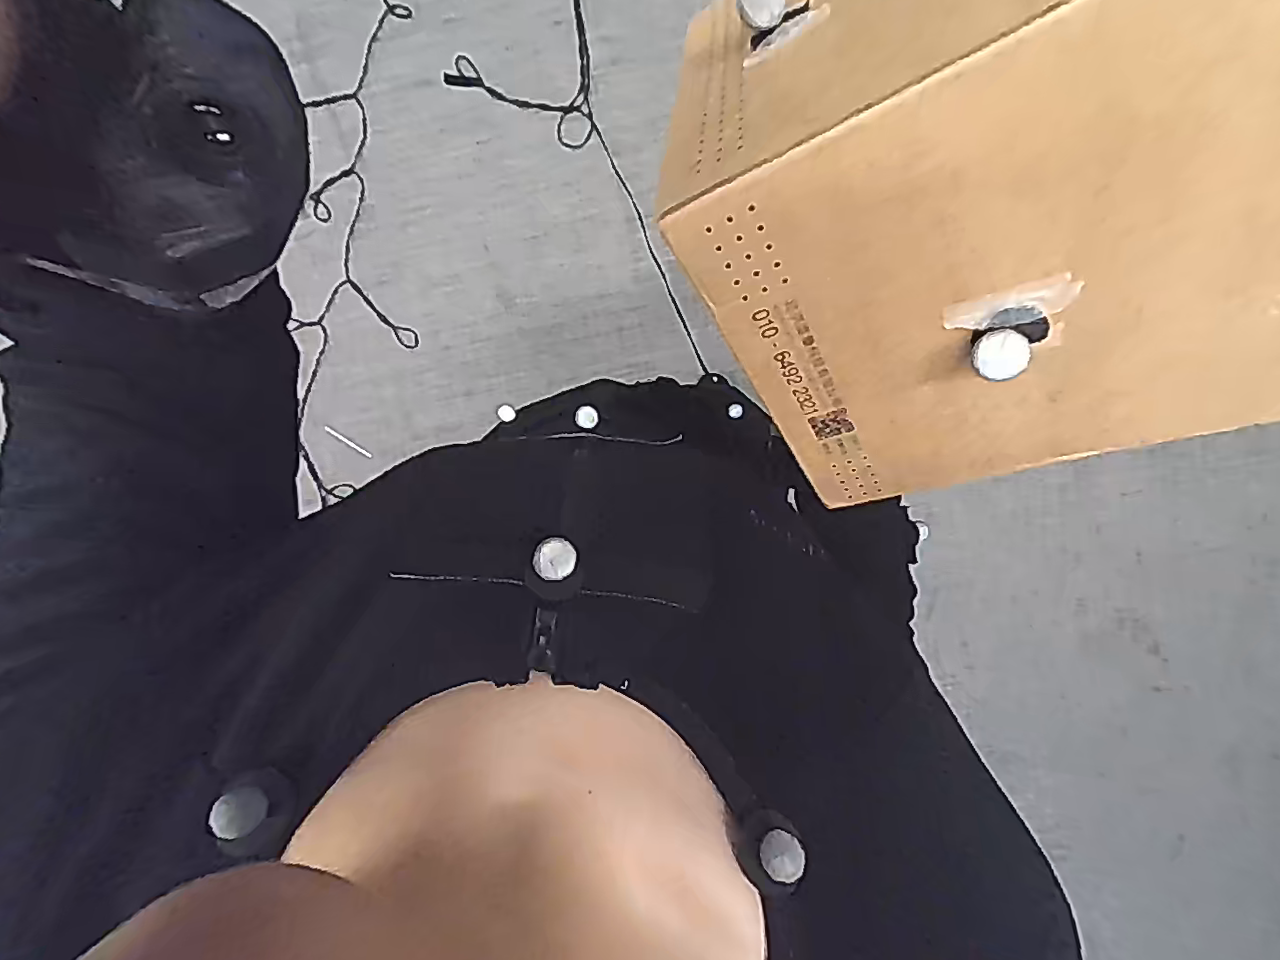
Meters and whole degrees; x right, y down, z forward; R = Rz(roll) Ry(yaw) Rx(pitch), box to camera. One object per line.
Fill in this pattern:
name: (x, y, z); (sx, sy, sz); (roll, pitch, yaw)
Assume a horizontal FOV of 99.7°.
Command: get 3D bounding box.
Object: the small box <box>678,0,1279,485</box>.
small box: (0.128, -0.119, 0.230); (0.176, 0.179, 0.168); (-15, 140, 29)
